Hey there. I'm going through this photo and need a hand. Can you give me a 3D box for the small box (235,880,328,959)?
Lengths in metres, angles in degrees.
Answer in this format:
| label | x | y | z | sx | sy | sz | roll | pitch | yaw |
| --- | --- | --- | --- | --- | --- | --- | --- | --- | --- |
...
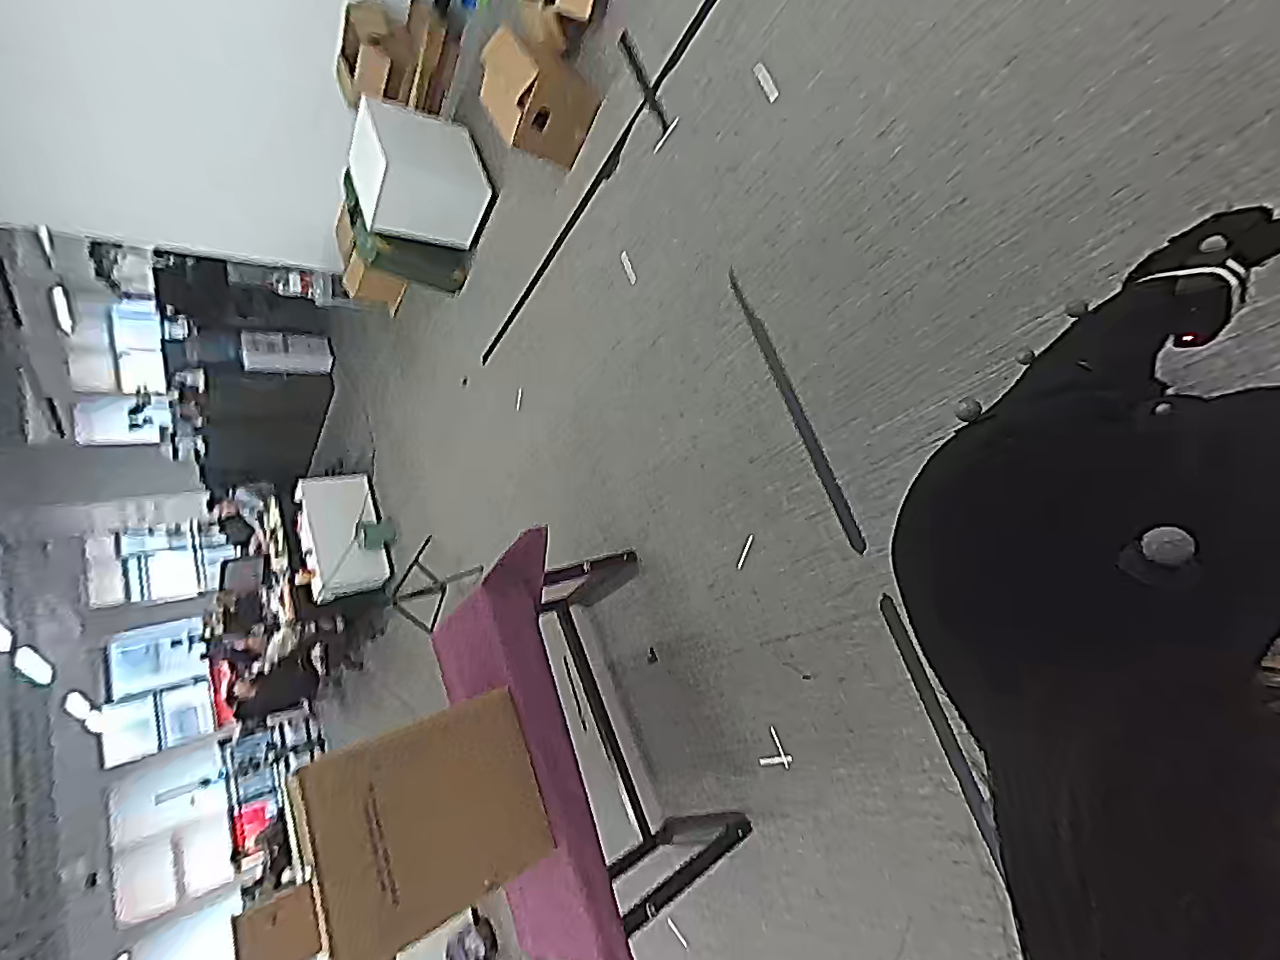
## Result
| label | x | y | z | sx | sy | sz | roll | pitch | yaw |
| --- | --- | --- | --- | --- | --- | --- | --- | --- | --- |
| small box | -0.913 | 1.155 | 1.374 | 0.168 | 0.176 | 0.179 | -43 | 64 | 44 |
